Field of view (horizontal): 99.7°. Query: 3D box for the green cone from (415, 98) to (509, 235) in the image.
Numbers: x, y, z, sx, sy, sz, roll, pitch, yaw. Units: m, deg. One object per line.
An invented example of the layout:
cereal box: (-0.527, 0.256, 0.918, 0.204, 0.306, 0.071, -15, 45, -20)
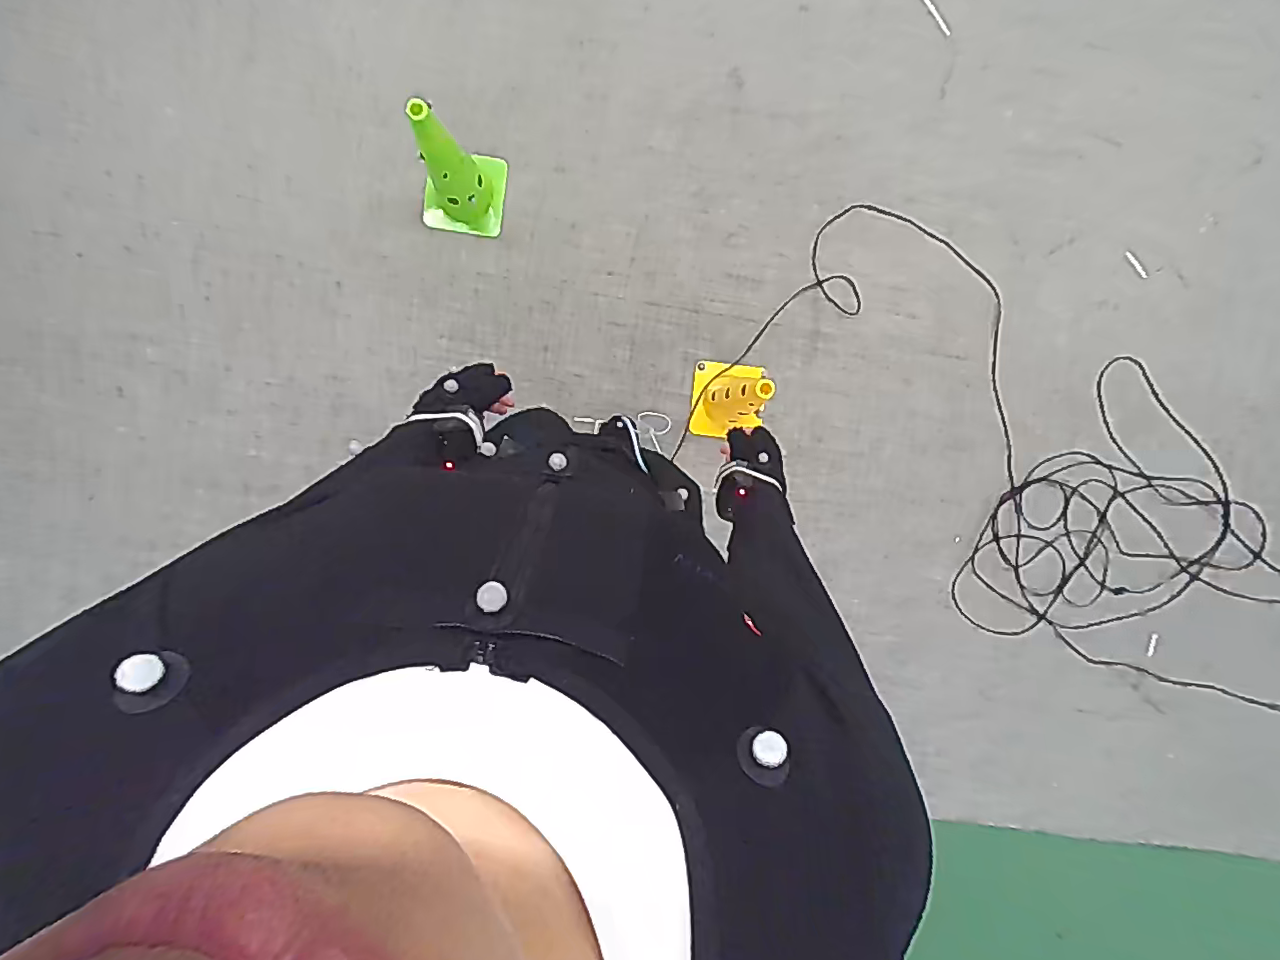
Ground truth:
green cone: (-0.435, -0.733, 1.227, 0.202, 0.368, 0.200, 7, 94, -4)
